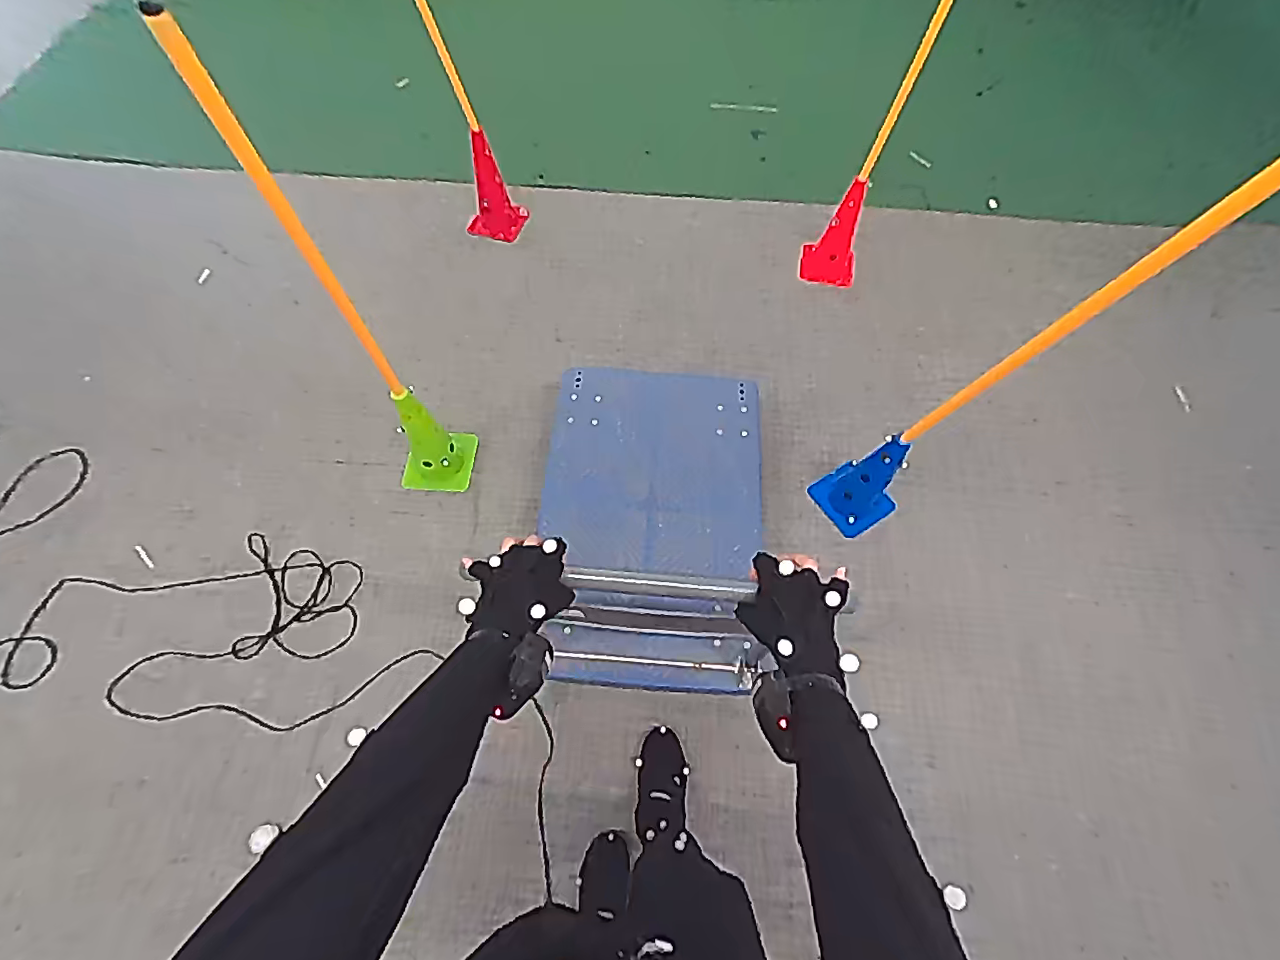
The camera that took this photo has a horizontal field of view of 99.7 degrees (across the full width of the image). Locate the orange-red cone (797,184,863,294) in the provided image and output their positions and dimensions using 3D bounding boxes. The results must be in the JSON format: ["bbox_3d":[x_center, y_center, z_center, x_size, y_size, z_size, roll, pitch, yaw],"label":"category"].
[{"bbox_3d":[0.710,-0.875,1.921,0.198,0.360,0.199,14,64,6],"label":"orange-red cone"}]
